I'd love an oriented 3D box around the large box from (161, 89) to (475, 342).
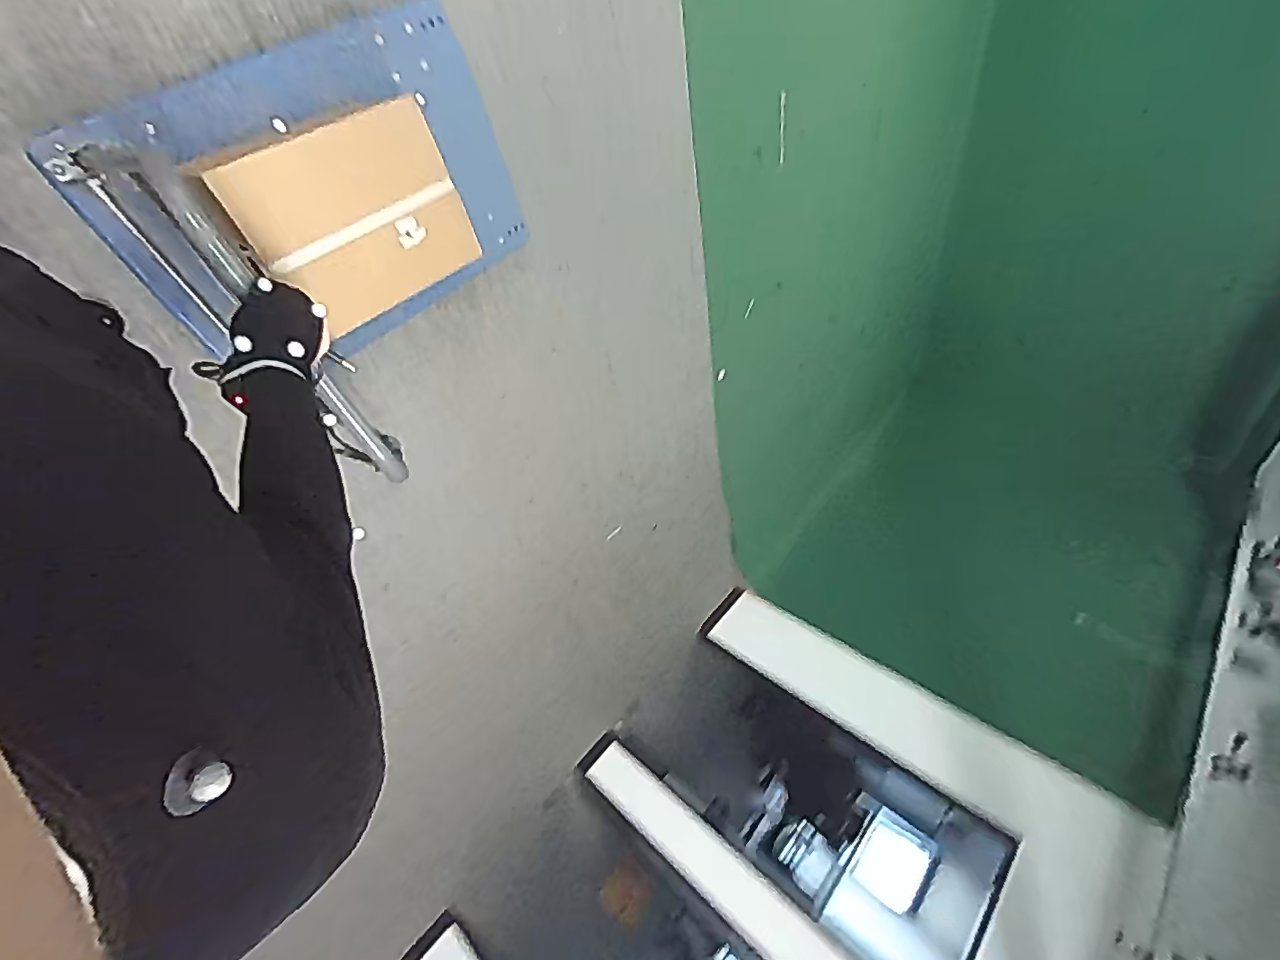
[{"bbox_3d":[-0.636,-0.544,1.110,0.408,0.320,0.320,-45,140,-25],"label":"large box"}]
